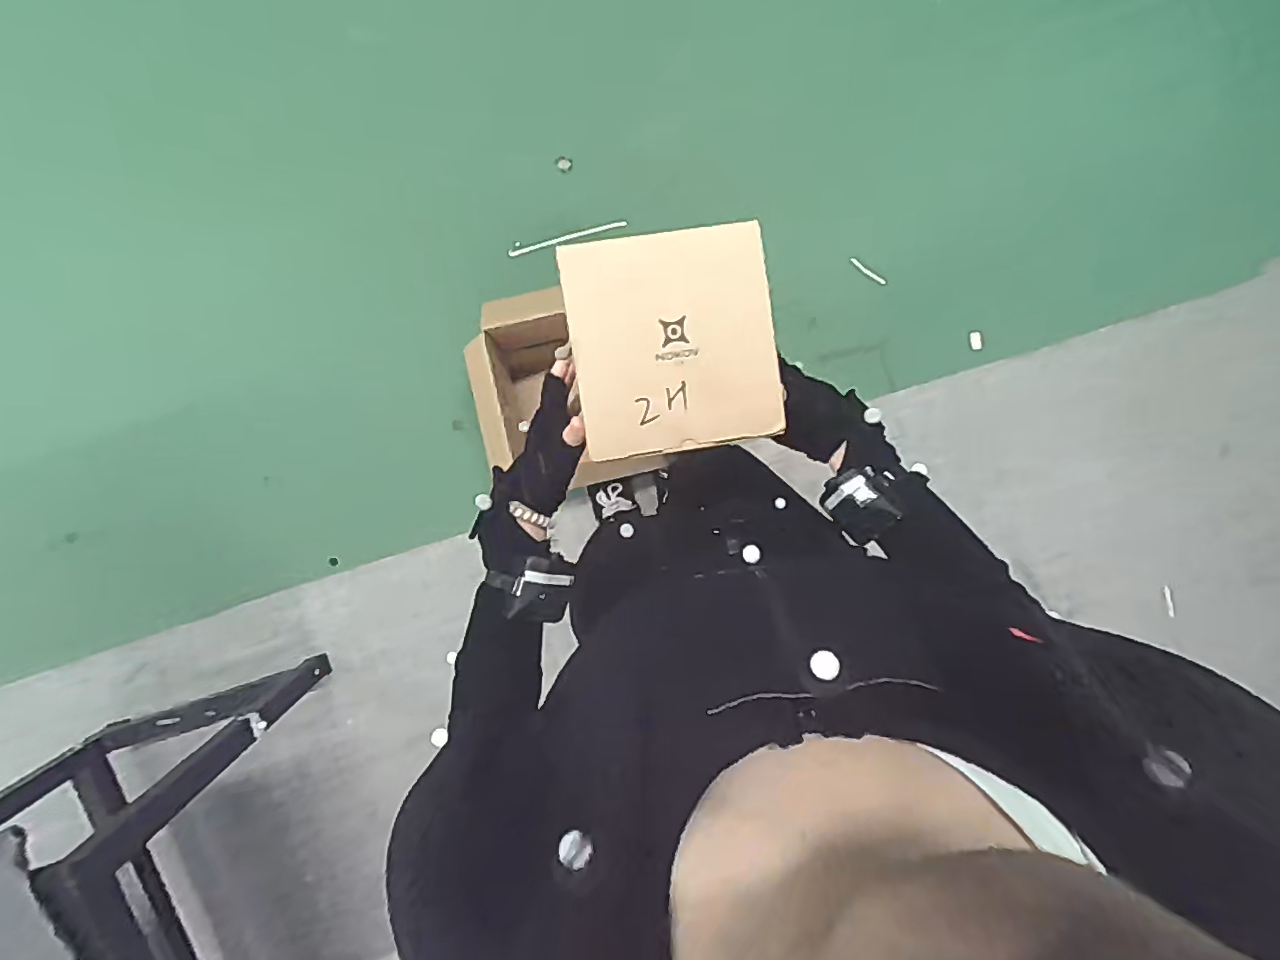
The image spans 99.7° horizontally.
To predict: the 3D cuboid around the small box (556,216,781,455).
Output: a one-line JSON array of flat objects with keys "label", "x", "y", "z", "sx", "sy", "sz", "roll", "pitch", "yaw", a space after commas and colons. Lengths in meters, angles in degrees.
[{"label": "small box", "x": 0.018, "y": -0.119, "z": 0.513, "sx": 0.168, "sy": 0.176, "sz": 0.179, "roll": -9, "pitch": 94, "yaw": -3}]
